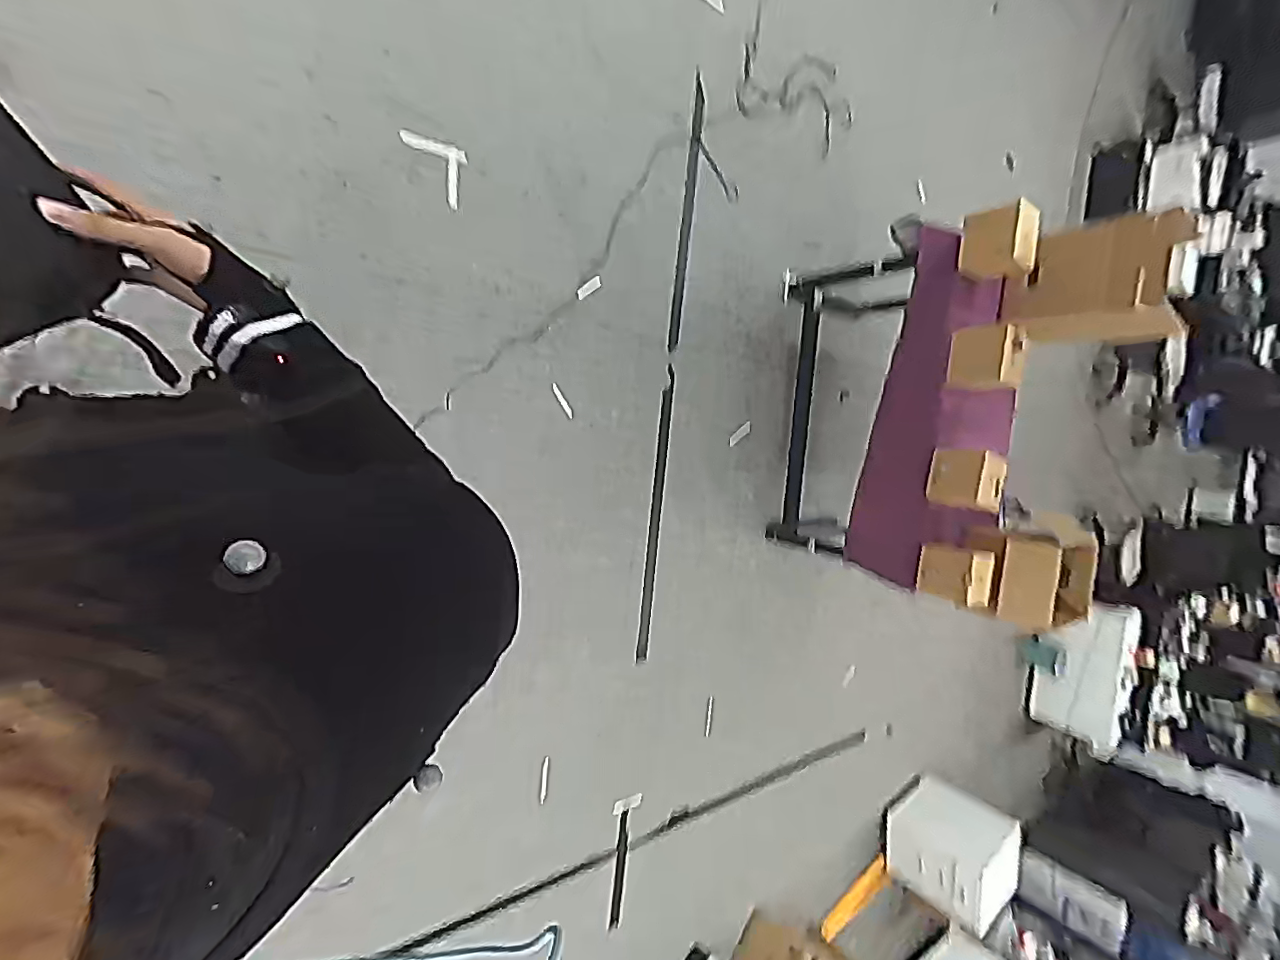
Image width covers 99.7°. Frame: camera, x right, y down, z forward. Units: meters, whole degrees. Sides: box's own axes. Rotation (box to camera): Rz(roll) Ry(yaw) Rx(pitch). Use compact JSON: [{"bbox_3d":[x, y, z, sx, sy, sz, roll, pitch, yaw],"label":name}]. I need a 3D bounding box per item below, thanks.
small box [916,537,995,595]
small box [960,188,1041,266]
[{"bbox_3d":[1.085,0.292,1.861,0.179,0.176,0.168,8,91,-37],"label":"small box"},{"bbox_3d":[1.177,-0.820,1.770,0.168,0.176,0.179,-2,99,-36],"label":"small box"}]
